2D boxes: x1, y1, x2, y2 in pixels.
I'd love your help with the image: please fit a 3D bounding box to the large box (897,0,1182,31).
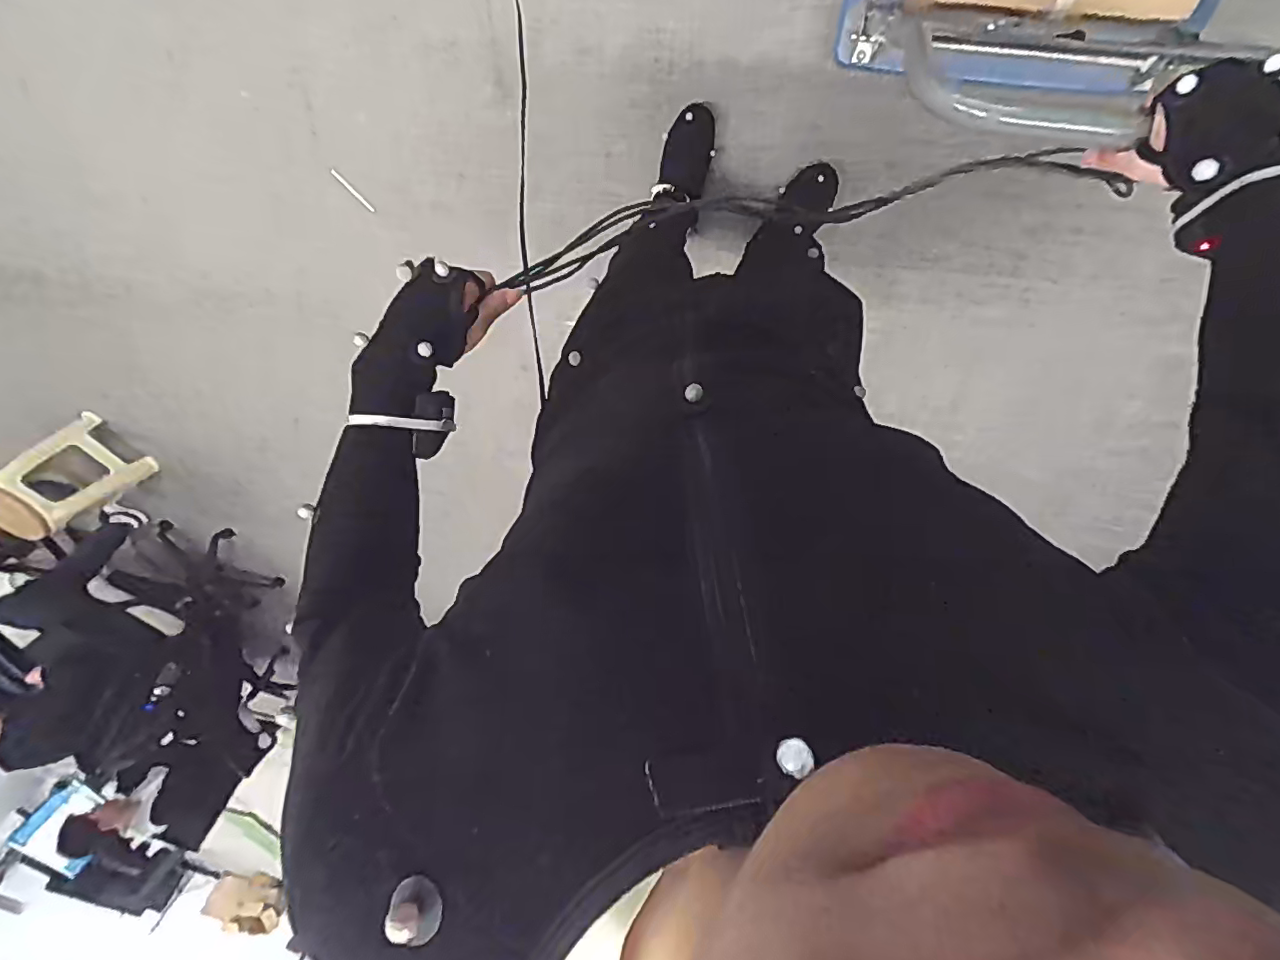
[{"bbox_3d":[0.577,-0.862,0.708,0.320,0.320,0.408,10,128,7],"label":"large box"}]
